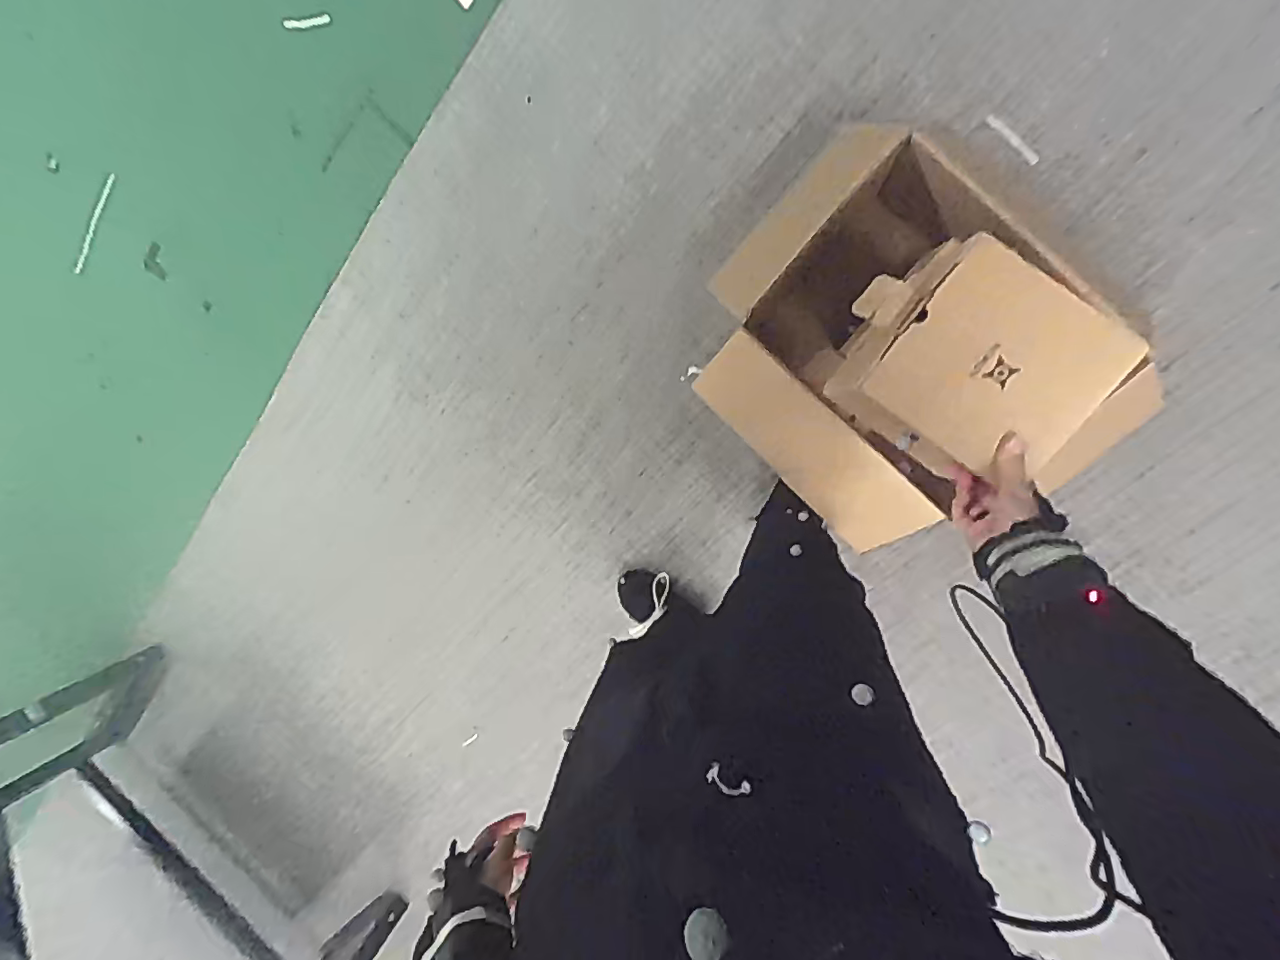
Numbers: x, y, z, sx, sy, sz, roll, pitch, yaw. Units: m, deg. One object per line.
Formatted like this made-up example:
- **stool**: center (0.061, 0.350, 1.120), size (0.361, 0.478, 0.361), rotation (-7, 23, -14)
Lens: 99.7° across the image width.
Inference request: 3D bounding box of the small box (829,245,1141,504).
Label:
- **small box**: center (0.326, -0.103, 0.557), size (0.179, 0.176, 0.168), rotation (37, 101, 3)
